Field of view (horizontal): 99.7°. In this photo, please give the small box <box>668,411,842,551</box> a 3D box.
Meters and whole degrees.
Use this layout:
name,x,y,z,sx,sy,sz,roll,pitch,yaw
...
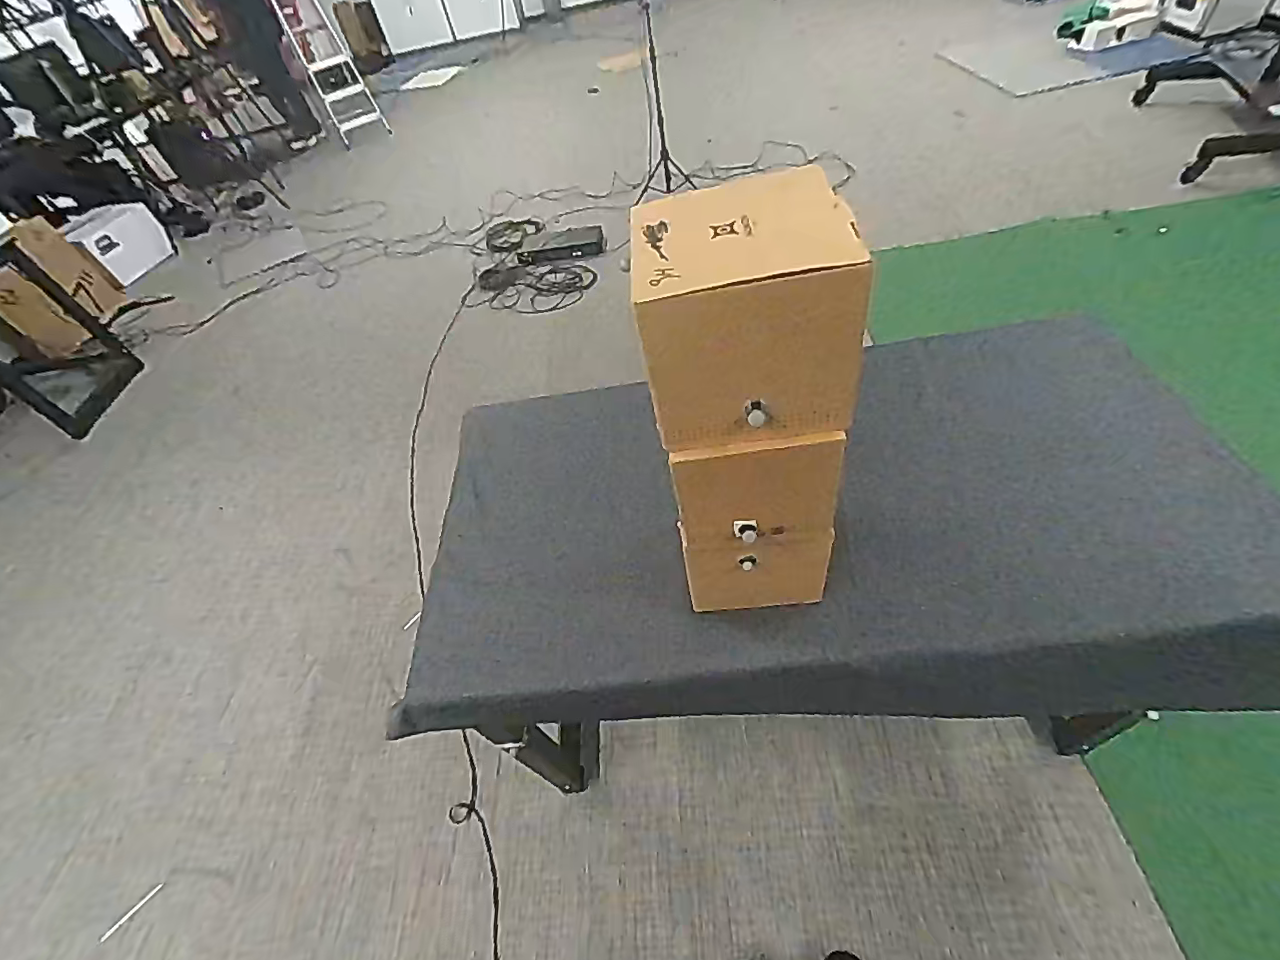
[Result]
name,x,y,z,sx,sy,sz,roll,pitch,yaw
small box,0.120,-0.041,0.625,0.168,0.176,0.179,-9,50,7

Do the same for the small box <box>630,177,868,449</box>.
name,x,y,z,sx,sy,sz,roll,pitch,yaw
small box,0.090,-0.149,0.505,0.179,0.176,0.168,-7,49,7

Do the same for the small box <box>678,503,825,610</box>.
name,x,y,z,sx,sy,sz,roll,pitch,yaw
small box,0.149,0.072,0.760,0.179,0.176,0.168,-6,50,6
